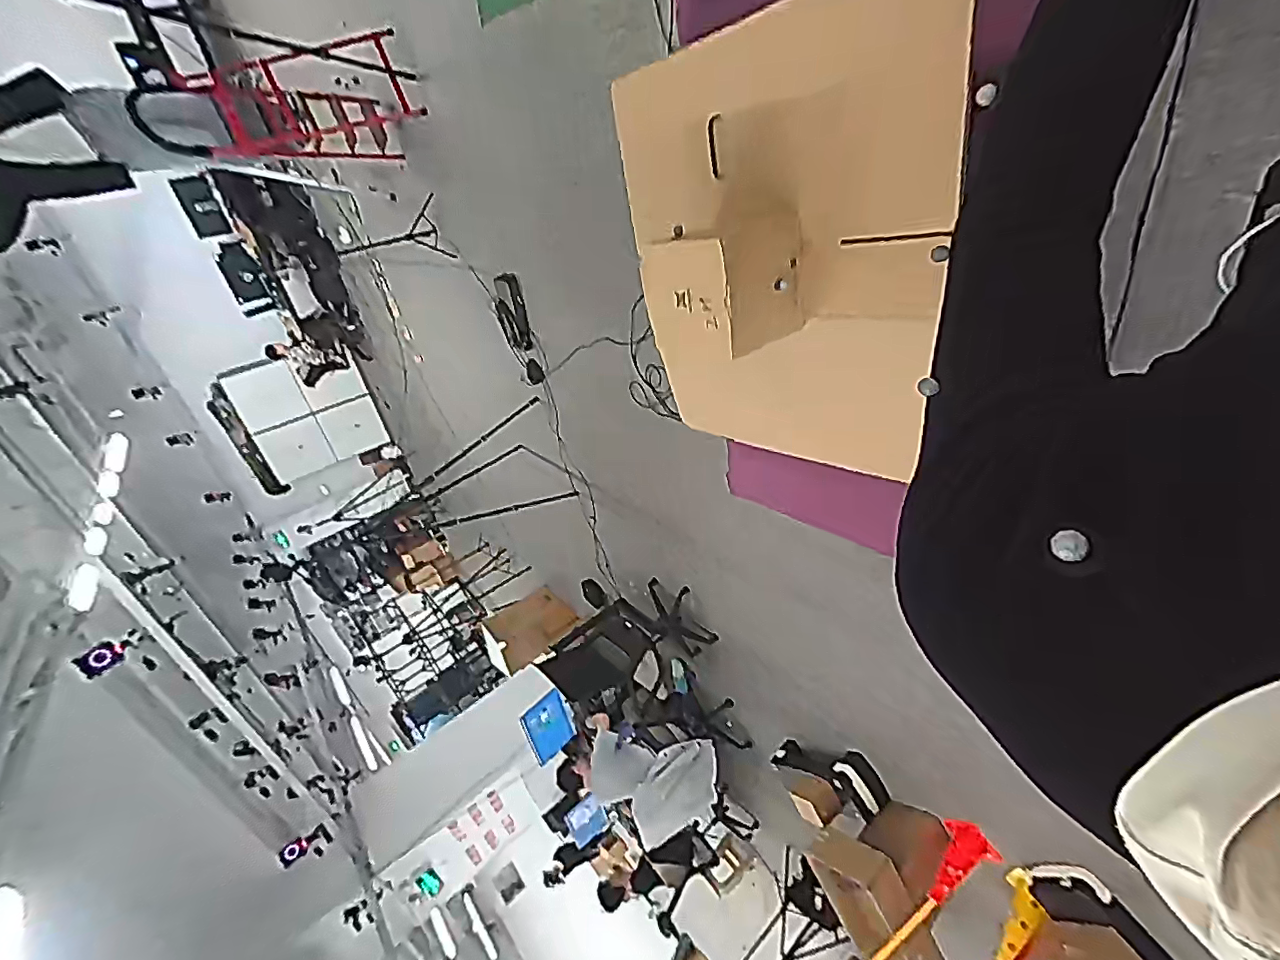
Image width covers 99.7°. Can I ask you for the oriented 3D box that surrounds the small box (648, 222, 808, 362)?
[{"bbox_3d":[0.140,-0.297,0.845,0.179,0.176,0.168,23,133,47],"label":"small box"}]
